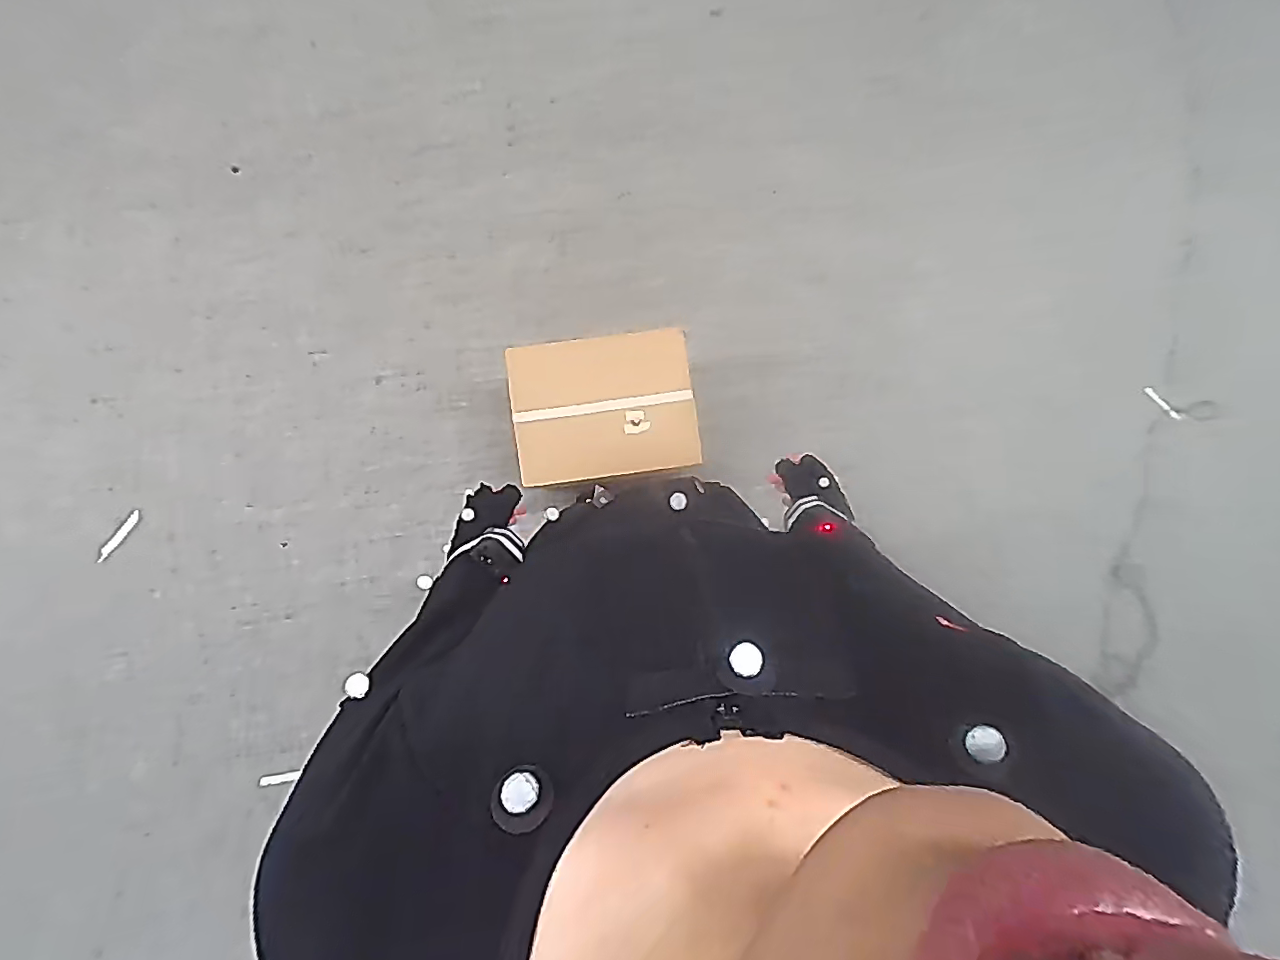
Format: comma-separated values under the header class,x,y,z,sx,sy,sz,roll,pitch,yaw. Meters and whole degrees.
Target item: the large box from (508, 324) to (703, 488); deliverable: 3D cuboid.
class,x,y,z,sx,sy,sz,roll,pitch,yaw
large box,-0.085,-0.164,1.352,0.408,0.320,0.320,-8,89,-3
